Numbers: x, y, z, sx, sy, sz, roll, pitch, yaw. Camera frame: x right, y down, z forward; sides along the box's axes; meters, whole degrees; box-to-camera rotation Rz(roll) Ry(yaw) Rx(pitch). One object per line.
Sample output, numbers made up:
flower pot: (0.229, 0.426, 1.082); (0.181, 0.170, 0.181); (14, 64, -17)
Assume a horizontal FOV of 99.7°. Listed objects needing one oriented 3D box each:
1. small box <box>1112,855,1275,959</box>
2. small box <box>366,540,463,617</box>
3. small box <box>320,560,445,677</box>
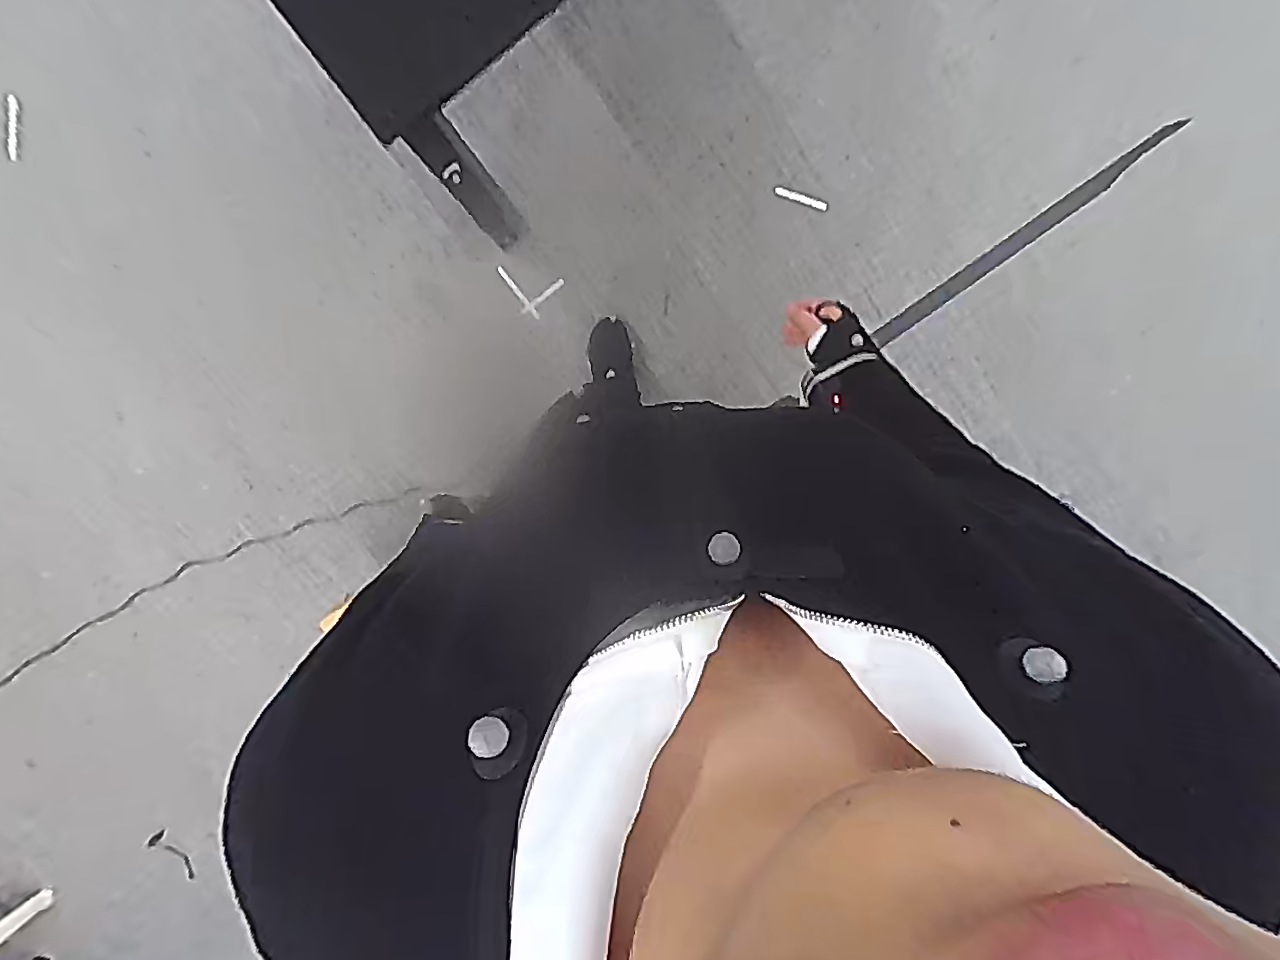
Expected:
small box: (1.187, 0.978, 1.172); (0.179, 0.176, 0.168); (-43, 98, 6)
small box: (-0.599, 0.288, 1.434); (0.168, 0.176, 0.179); (-36, 102, 4)
small box: (-0.594, 0.319, 1.273); (0.179, 0.176, 0.168); (-32, 102, 2)
